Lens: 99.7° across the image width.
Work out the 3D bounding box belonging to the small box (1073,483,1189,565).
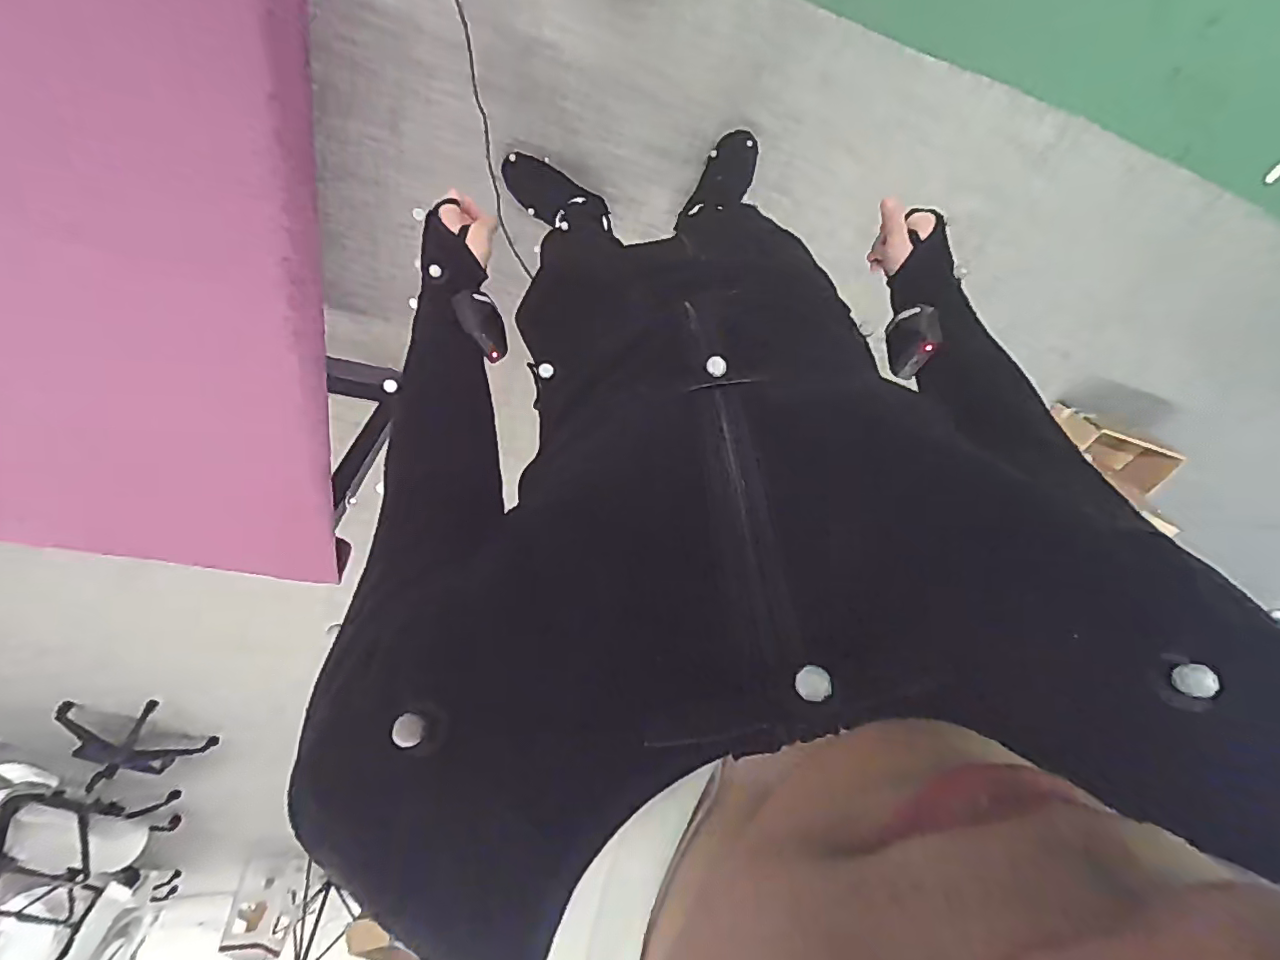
[{"bbox_3d":[1.541,0.136,1.708,0.179,0.176,0.168,21,126,-17],"label":"small box"}]

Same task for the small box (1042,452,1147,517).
[{"bbox_3d":[1.533,0.030,1.833,0.179,0.176,0.168,18,127,-15],"label":"small box"}]
